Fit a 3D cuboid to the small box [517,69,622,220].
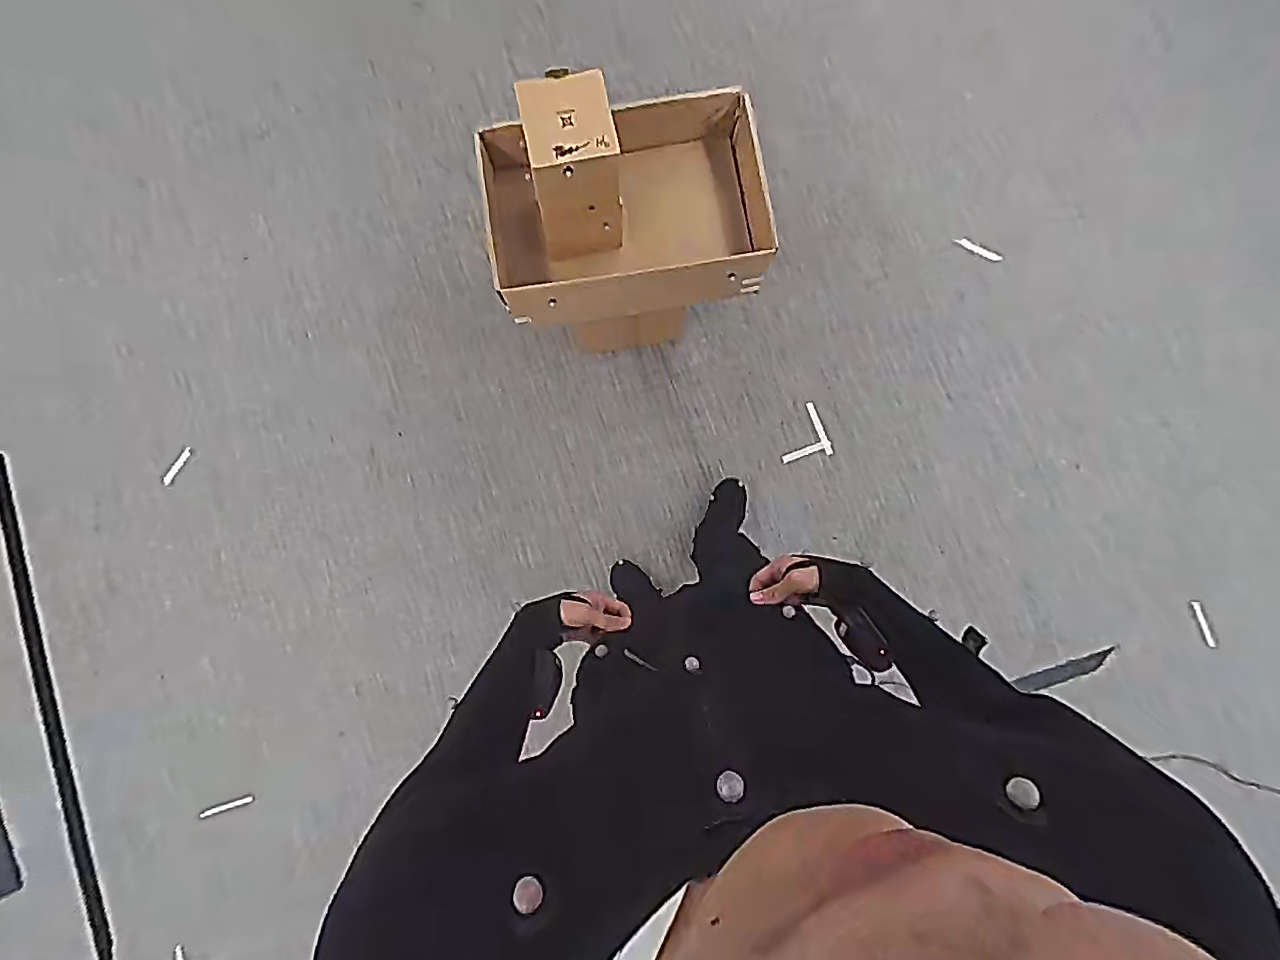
[{"bbox_3d":[-0.134,-0.646,1.057,0.168,0.176,0.179,-12,83,-3],"label":"small box"}]
